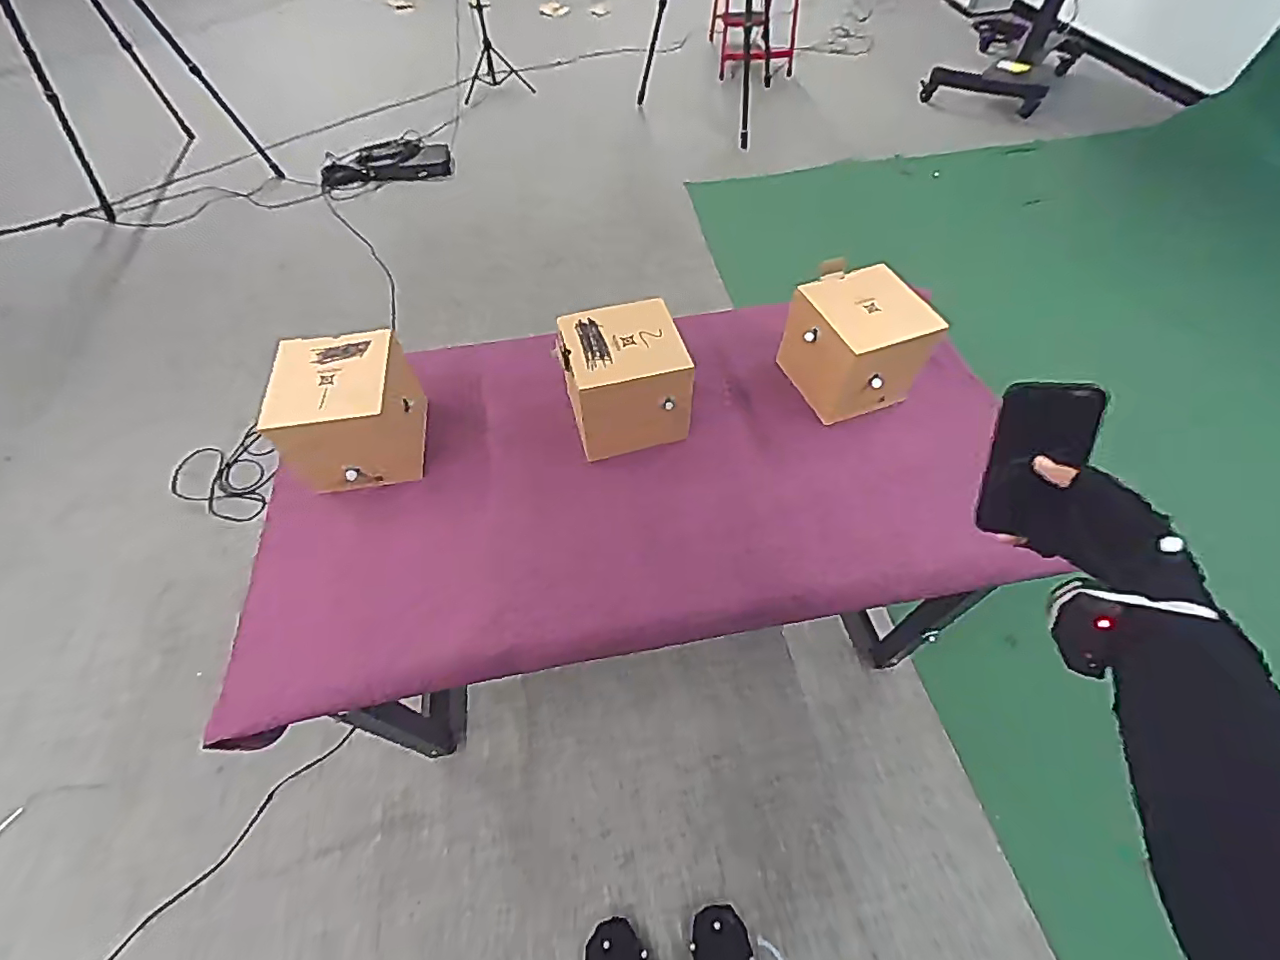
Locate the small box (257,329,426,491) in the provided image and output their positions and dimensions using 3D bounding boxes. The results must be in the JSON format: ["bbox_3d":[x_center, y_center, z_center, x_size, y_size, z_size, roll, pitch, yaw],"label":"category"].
[{"bbox_3d":[-0.443,-0.105,0.838,0.168,0.176,0.179,-8,58,-5],"label":"small box"}]

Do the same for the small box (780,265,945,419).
[{"bbox_3d":[0.358,-0.223,0.908,0.168,0.176,0.179,-18,57,-10],"label":"small box"}]
